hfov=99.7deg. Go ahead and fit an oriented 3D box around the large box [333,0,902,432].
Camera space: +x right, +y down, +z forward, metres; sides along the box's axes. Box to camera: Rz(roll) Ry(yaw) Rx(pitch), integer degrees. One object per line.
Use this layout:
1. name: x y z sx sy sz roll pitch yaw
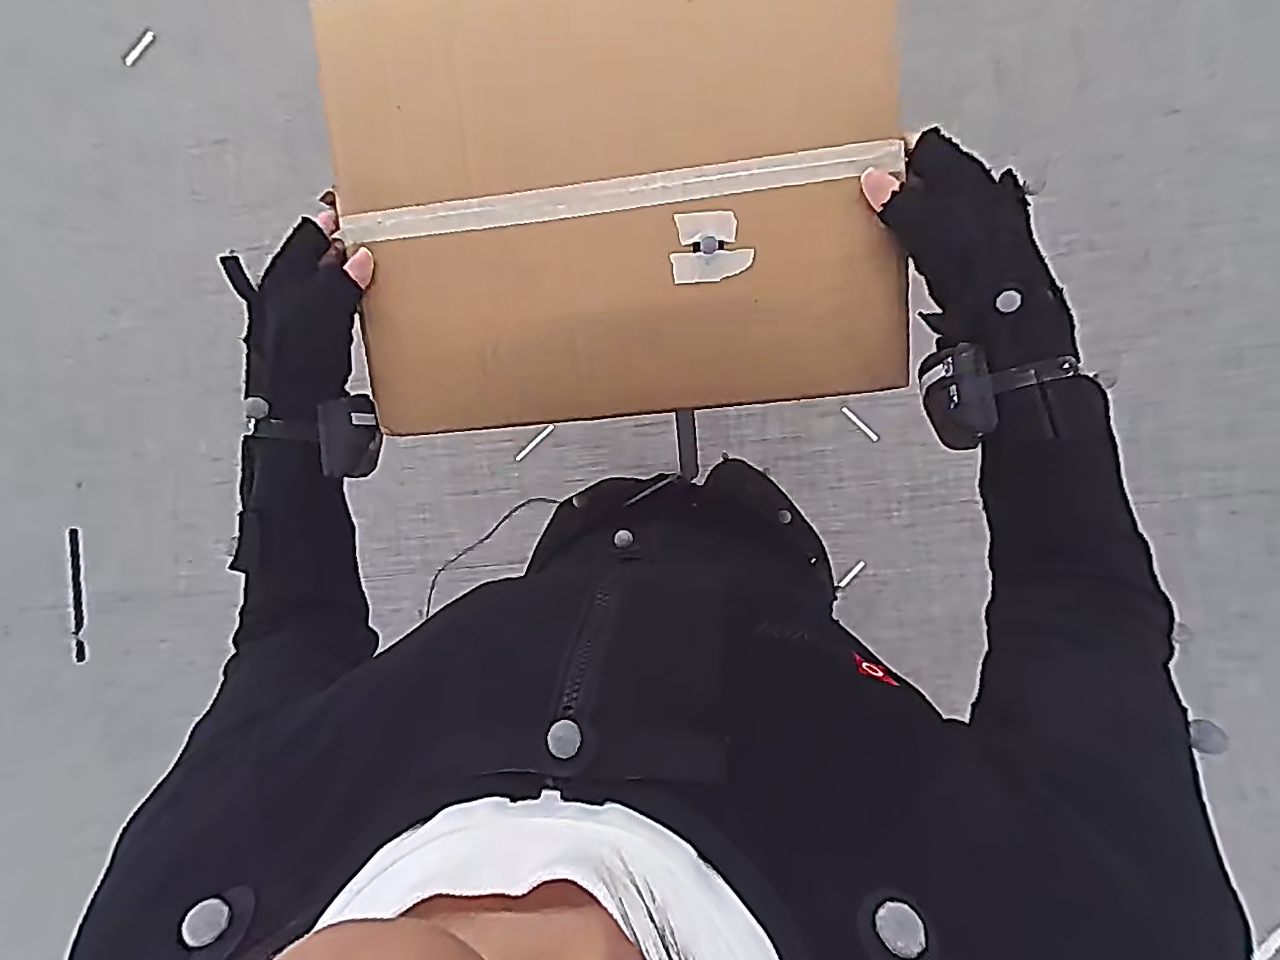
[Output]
1. large box: -0.007 -0.231 0.549 0.408 0.320 0.320 -5 99 4
